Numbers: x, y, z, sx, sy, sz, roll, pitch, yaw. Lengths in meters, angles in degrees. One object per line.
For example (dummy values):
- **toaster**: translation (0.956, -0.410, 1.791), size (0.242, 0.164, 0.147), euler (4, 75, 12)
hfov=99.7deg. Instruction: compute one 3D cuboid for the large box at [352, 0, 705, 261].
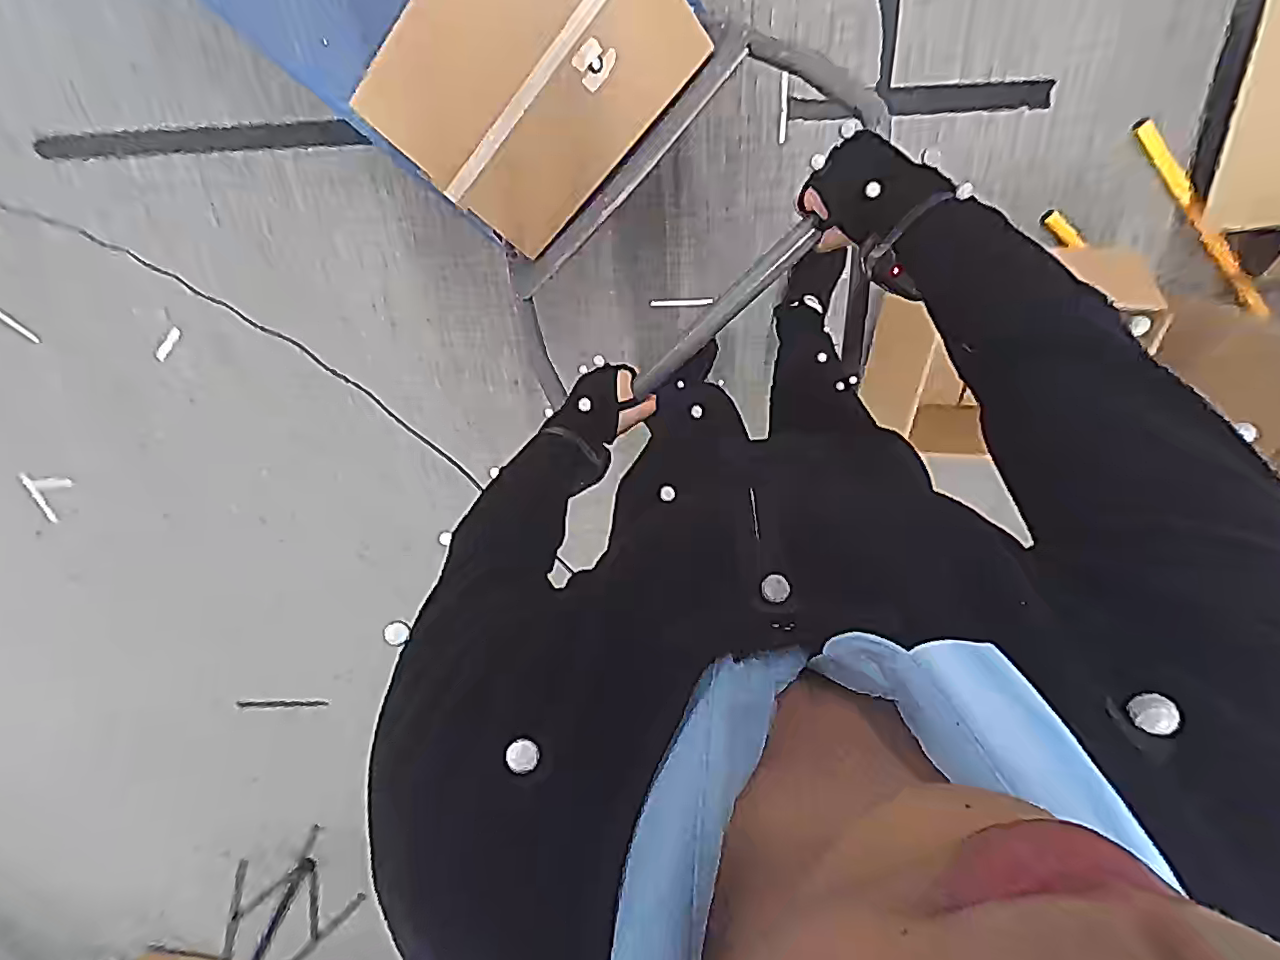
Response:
- **large box**: translation (-0.179, -0.642, 0.841), size (0.408, 0.320, 0.320), euler (-42, 130, 21)
